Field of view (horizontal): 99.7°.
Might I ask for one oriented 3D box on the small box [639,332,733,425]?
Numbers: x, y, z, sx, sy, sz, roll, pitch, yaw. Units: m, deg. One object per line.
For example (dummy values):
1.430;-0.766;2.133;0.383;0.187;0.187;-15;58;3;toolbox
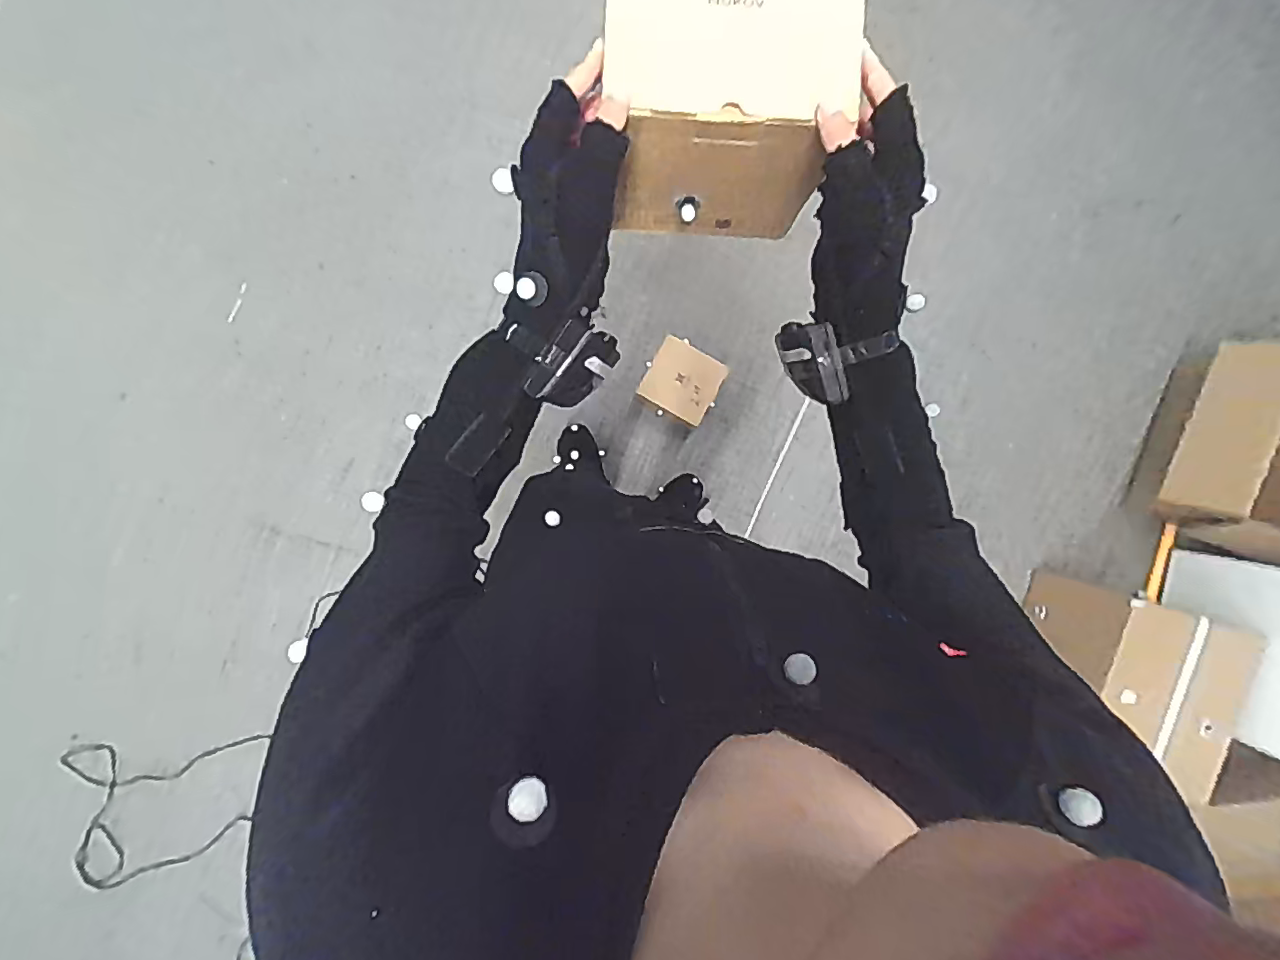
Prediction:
0.111;-0.248;1.378;0.179;0.176;0.168;30;93;0;small box
